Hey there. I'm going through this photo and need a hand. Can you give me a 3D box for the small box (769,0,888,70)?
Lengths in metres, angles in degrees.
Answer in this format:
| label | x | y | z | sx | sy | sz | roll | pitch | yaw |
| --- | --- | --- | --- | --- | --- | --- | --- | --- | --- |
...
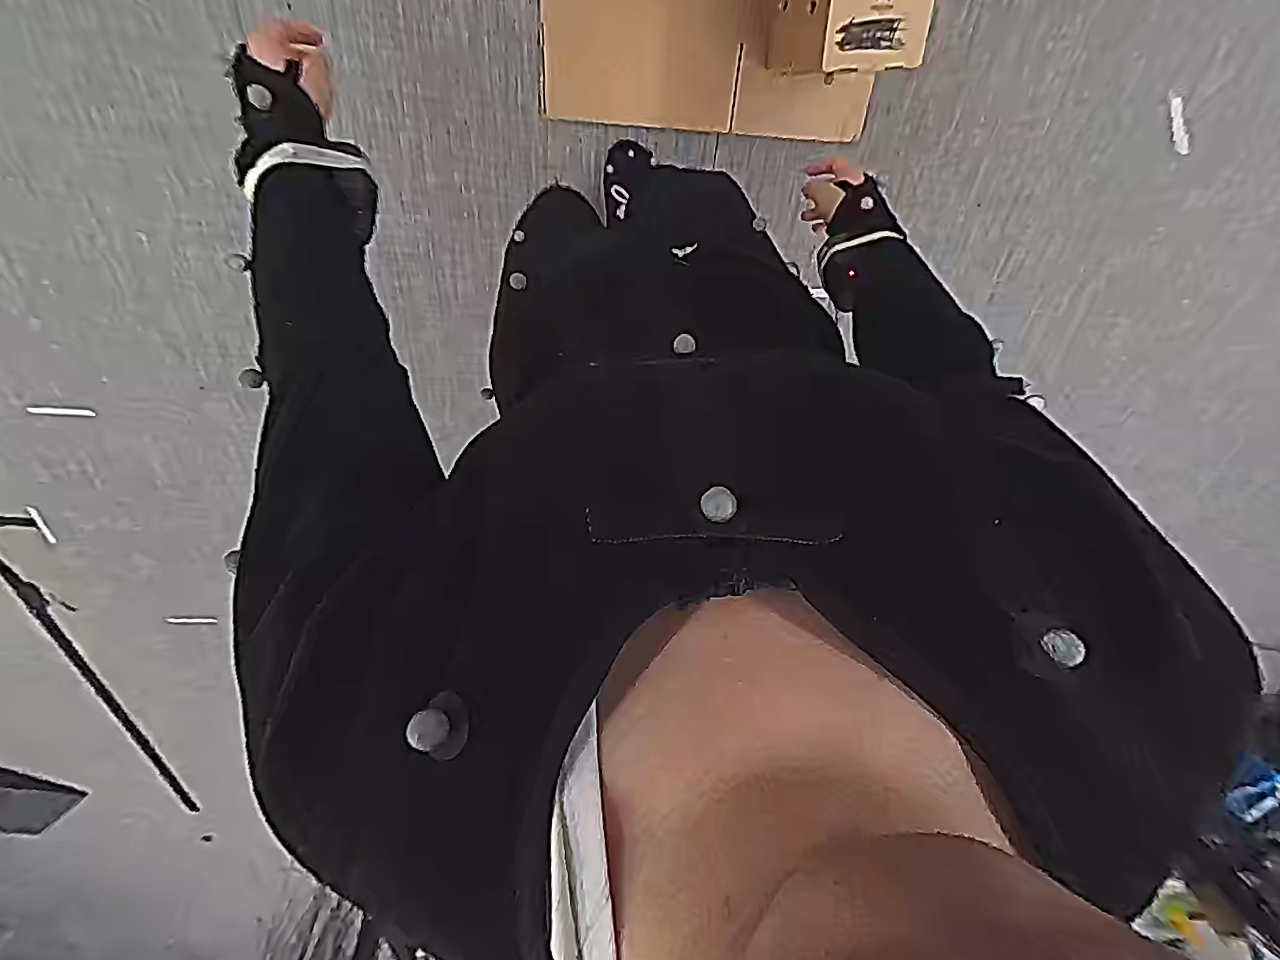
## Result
| label | x | y | z | sx | sy | sz | roll | pitch | yaw |
| --- | --- | --- | --- | --- | --- | --- | --- | --- | --- |
| small box | 0.347 | -0.877 | 1.007 | 0.168 | 0.176 | 0.179 | -3 | 125 | -4 |
